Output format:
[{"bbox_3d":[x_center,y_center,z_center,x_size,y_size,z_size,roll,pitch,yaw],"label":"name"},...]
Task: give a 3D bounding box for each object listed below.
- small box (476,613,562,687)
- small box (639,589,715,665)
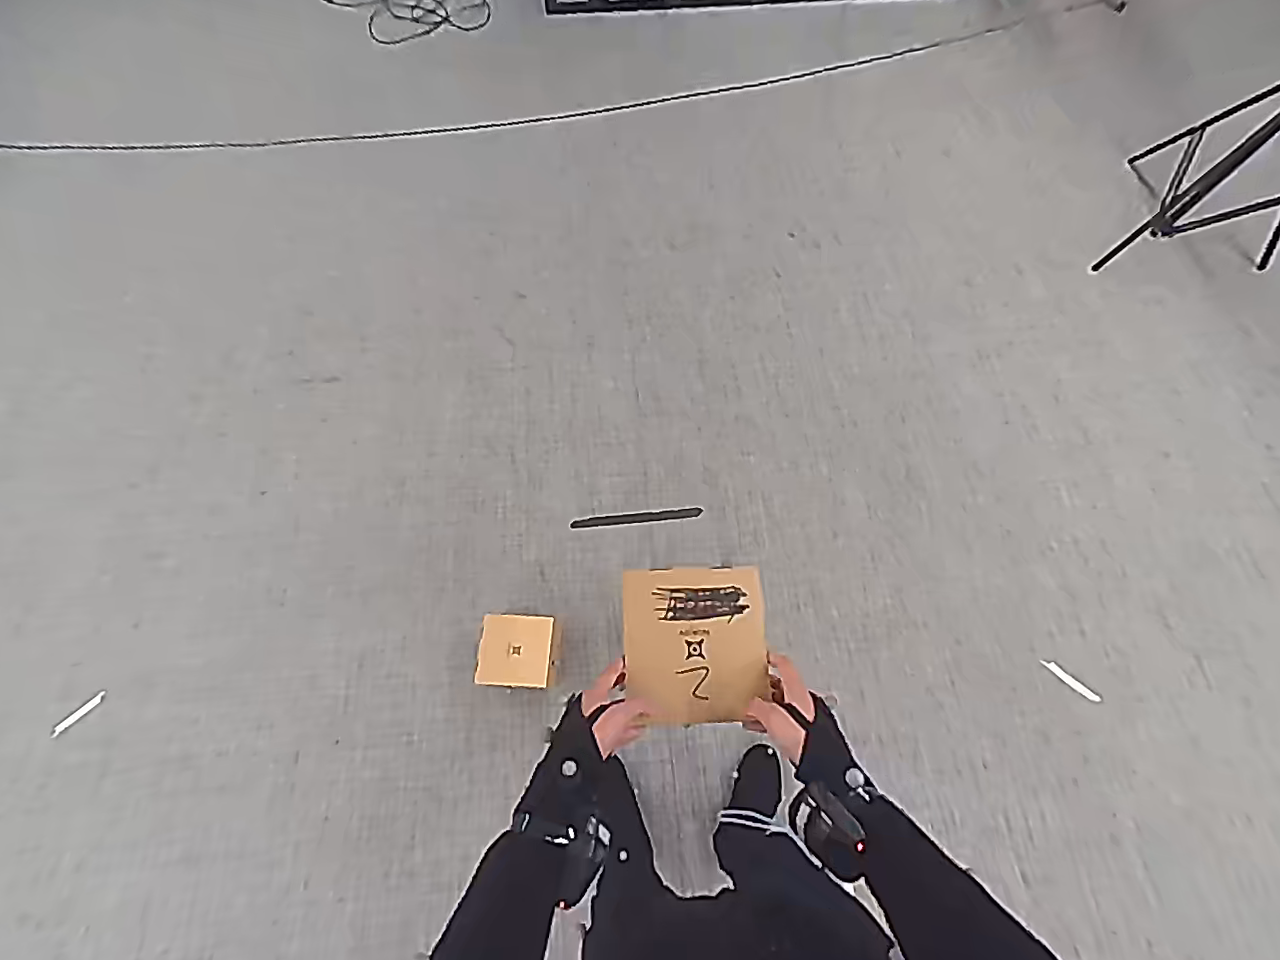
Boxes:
[{"bbox_3d":[-0.302,0.440,1.396,0.179,0.176,0.168,2,69,2],"label":"small box"},{"bbox_3d":[0.091,0.388,1.413,0.179,0.176,0.168,-5,69,-3],"label":"small box"}]
